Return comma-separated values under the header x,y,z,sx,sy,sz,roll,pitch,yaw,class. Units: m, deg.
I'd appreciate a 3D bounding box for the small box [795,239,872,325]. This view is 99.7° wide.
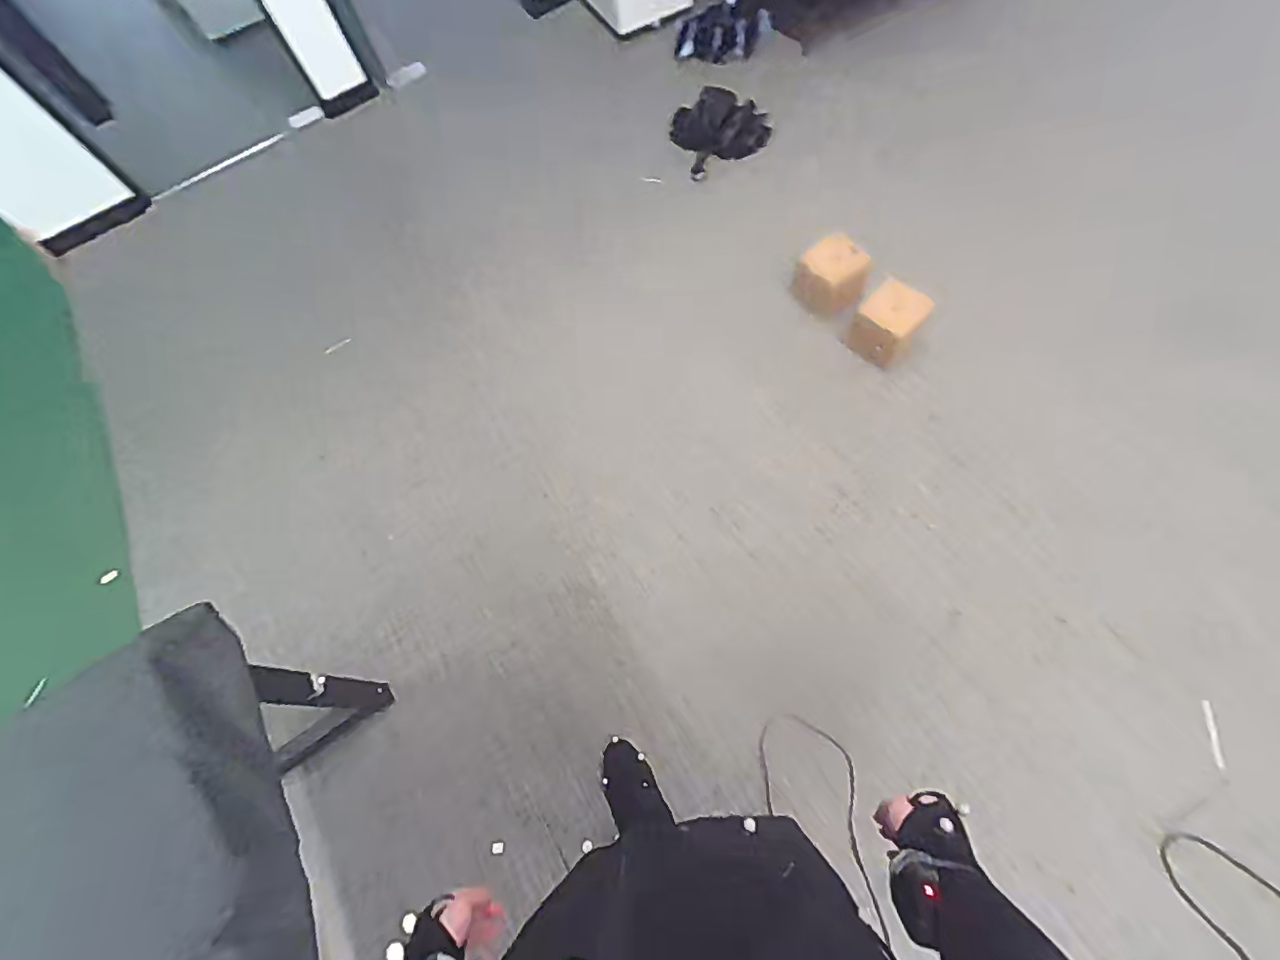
x,y,z,sx,sy,sz,roll,pitch,yaw,class
0.635,-0.652,1.799,0.179,0.176,0.168,-35,64,-9,small box

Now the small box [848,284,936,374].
x,y,z,sx,sy,sz,roll,pitch,yaw,class
0.775,-0.466,1.690,0.179,0.176,0.168,-42,67,-14,small box
